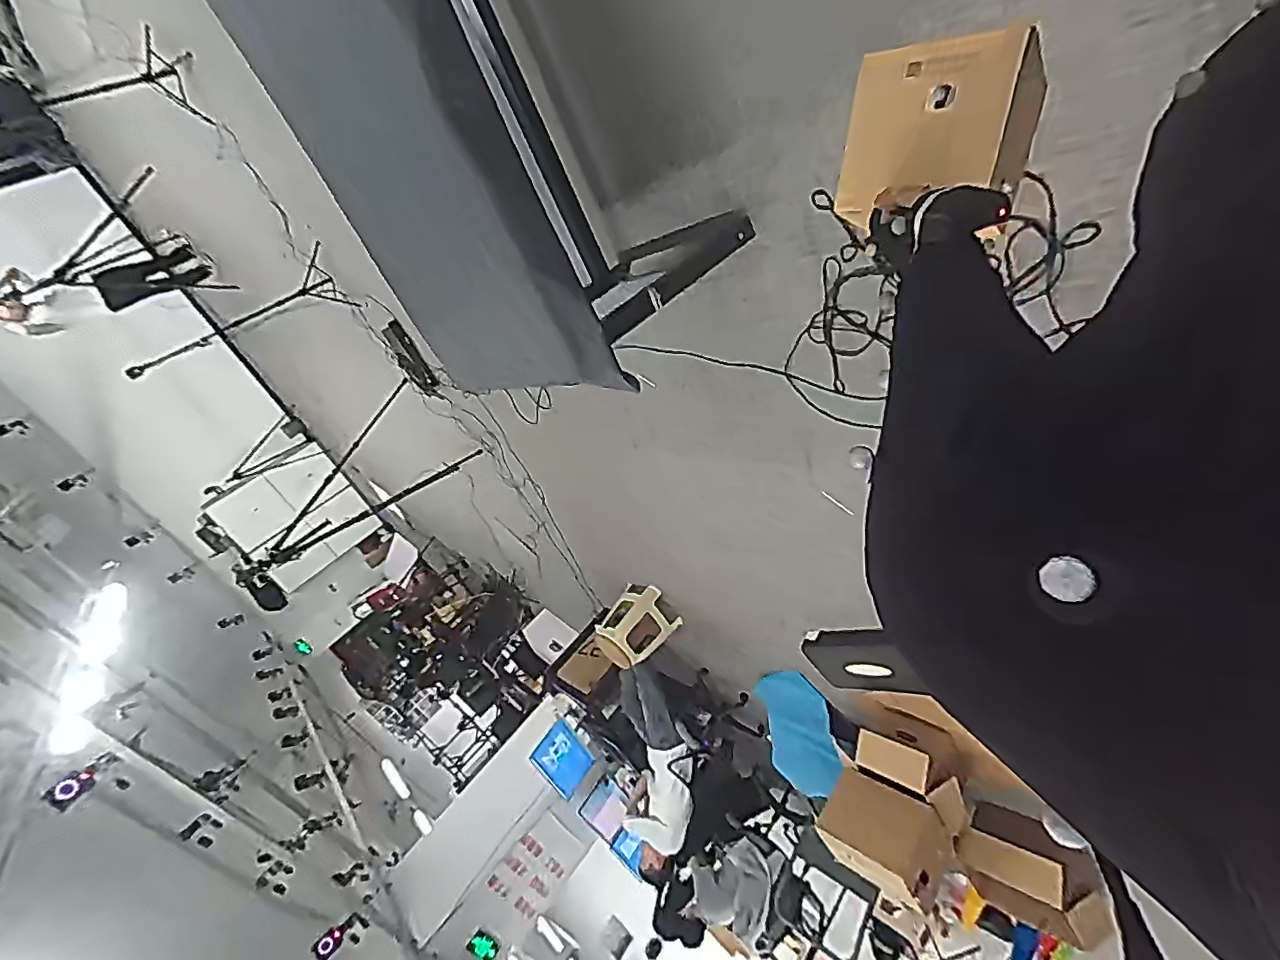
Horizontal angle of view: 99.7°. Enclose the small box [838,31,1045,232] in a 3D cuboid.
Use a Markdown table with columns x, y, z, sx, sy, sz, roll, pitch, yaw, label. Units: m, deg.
| x | y | z | sx | sy | sz | roll | pitch | yaw | label |
| --- | --- | --- | --- | --- | --- | --- | --- | --- | --- |
| 0.366 | -0.404 | 0.657 | 0.168 | 0.179 | 0.176 | 19 | 115 | 36 | small box |
